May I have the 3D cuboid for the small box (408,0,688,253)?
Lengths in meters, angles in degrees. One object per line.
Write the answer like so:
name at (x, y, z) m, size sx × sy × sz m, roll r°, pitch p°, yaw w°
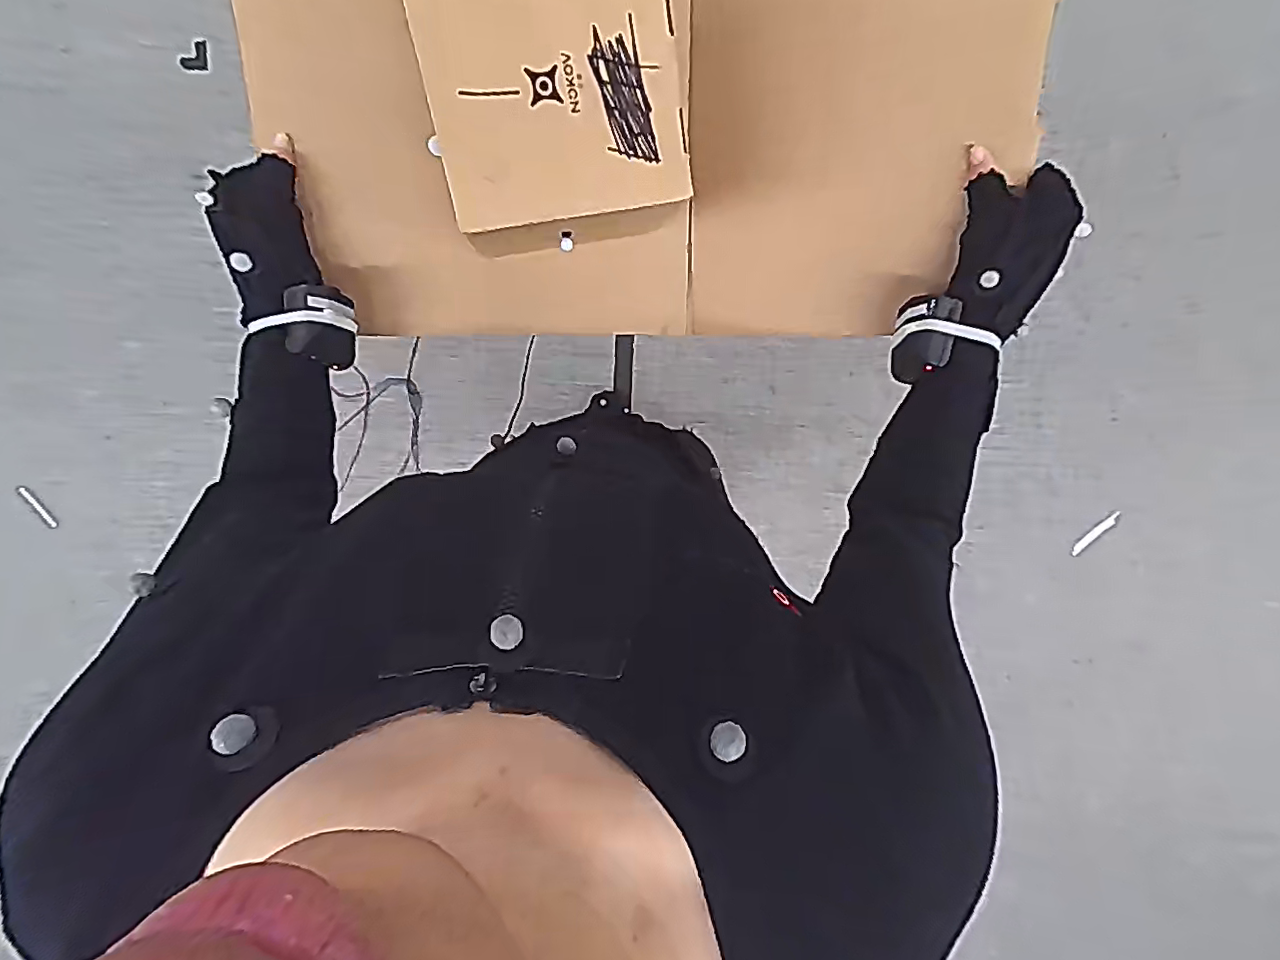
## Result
small box at (-0.073, -0.297, 0.456) m, size 0.179 × 0.176 × 0.168 m, roll -12°, pitch 108°, yaw -7°
